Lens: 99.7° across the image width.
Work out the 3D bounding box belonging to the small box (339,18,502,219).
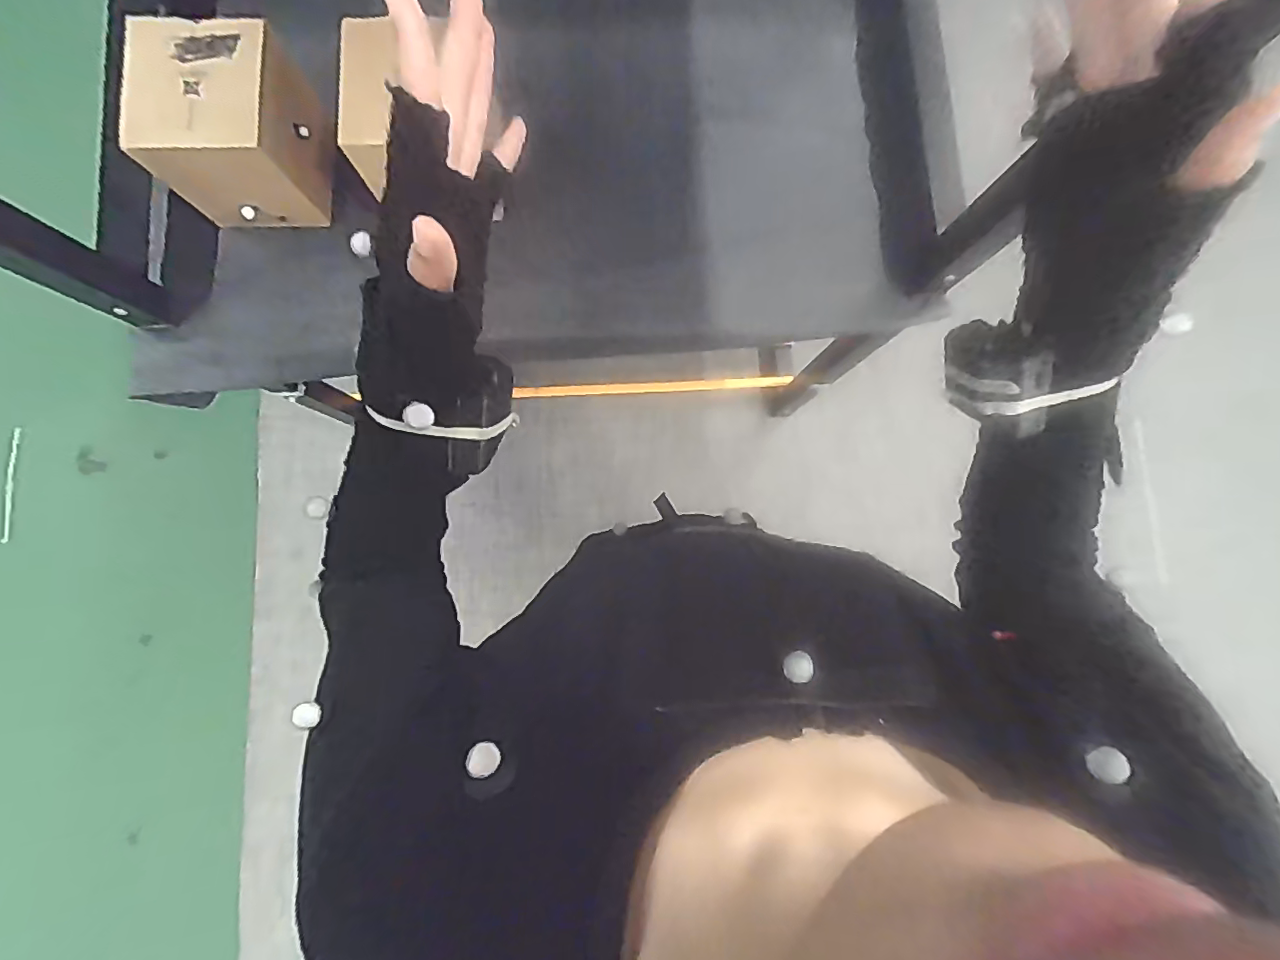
[{"bbox_3d":[-0.291,-0.485,0.751,0.168,0.176,0.179,-2,83,-2],"label":"small box"}]

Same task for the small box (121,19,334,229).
[{"bbox_3d":[-0.543,-0.473,0.739,0.168,0.176,0.179,-2,84,-2],"label":"small box"}]
